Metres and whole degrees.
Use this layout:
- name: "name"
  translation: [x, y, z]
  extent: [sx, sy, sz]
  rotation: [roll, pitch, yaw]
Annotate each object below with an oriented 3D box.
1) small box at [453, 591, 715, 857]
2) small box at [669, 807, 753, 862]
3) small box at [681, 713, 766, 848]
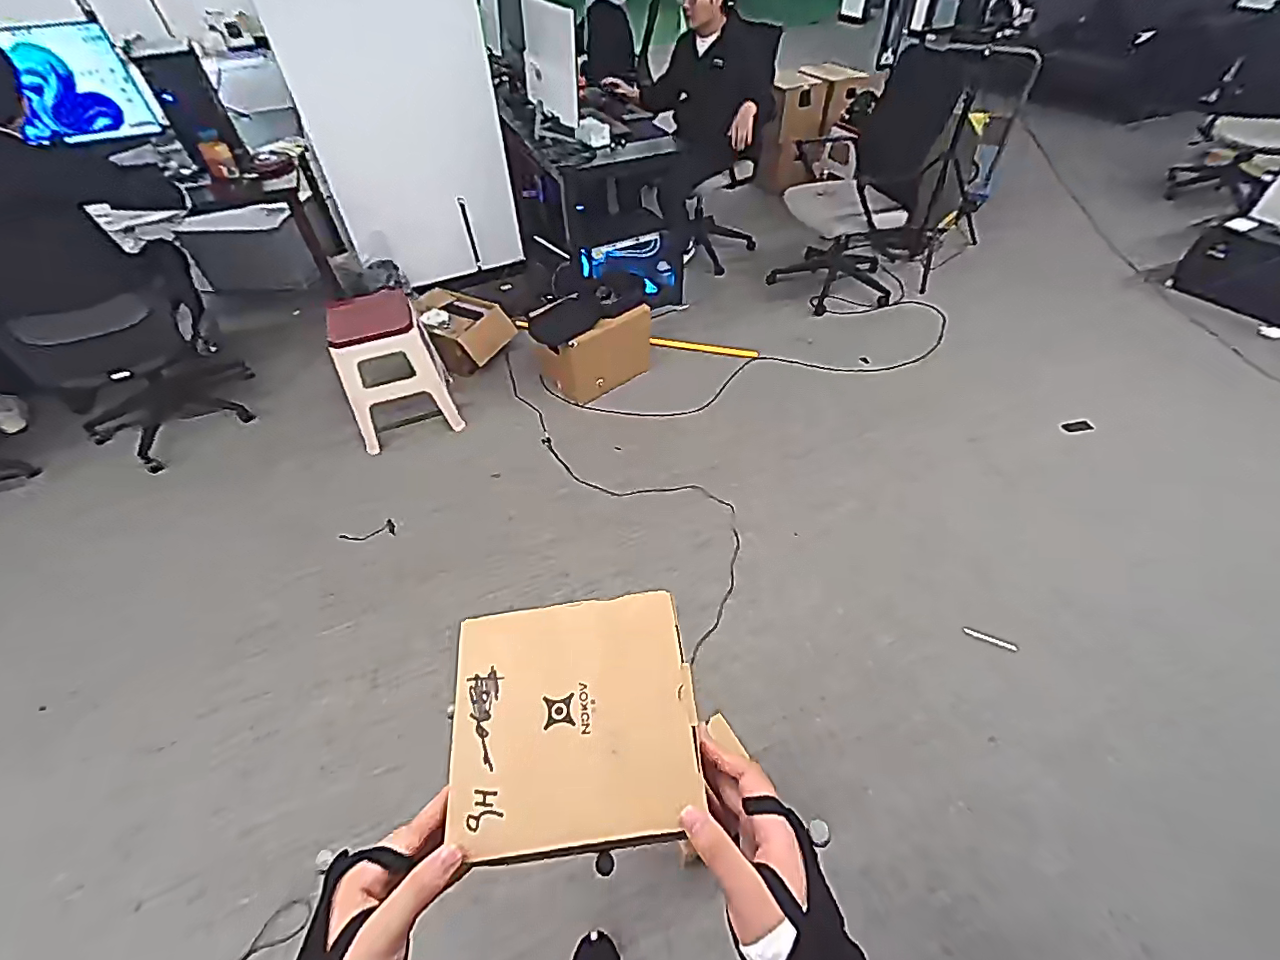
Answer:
- name: "small box"
  translation: [-0.041, 0.214, 0.465]
  extent: [0.179, 0.176, 0.168]
  rotation: [-8, 53, -1]
- name: "small box"
  translation: [0.133, 0.739, 1.242]
  extent: [0.179, 0.176, 0.168]
  rotation: [-23, 51, -16]
- name: "small box"
  translation: [0.135, 0.627, 1.123]
  extent: [0.179, 0.176, 0.168]
  rotation: [-24, 52, -19]
